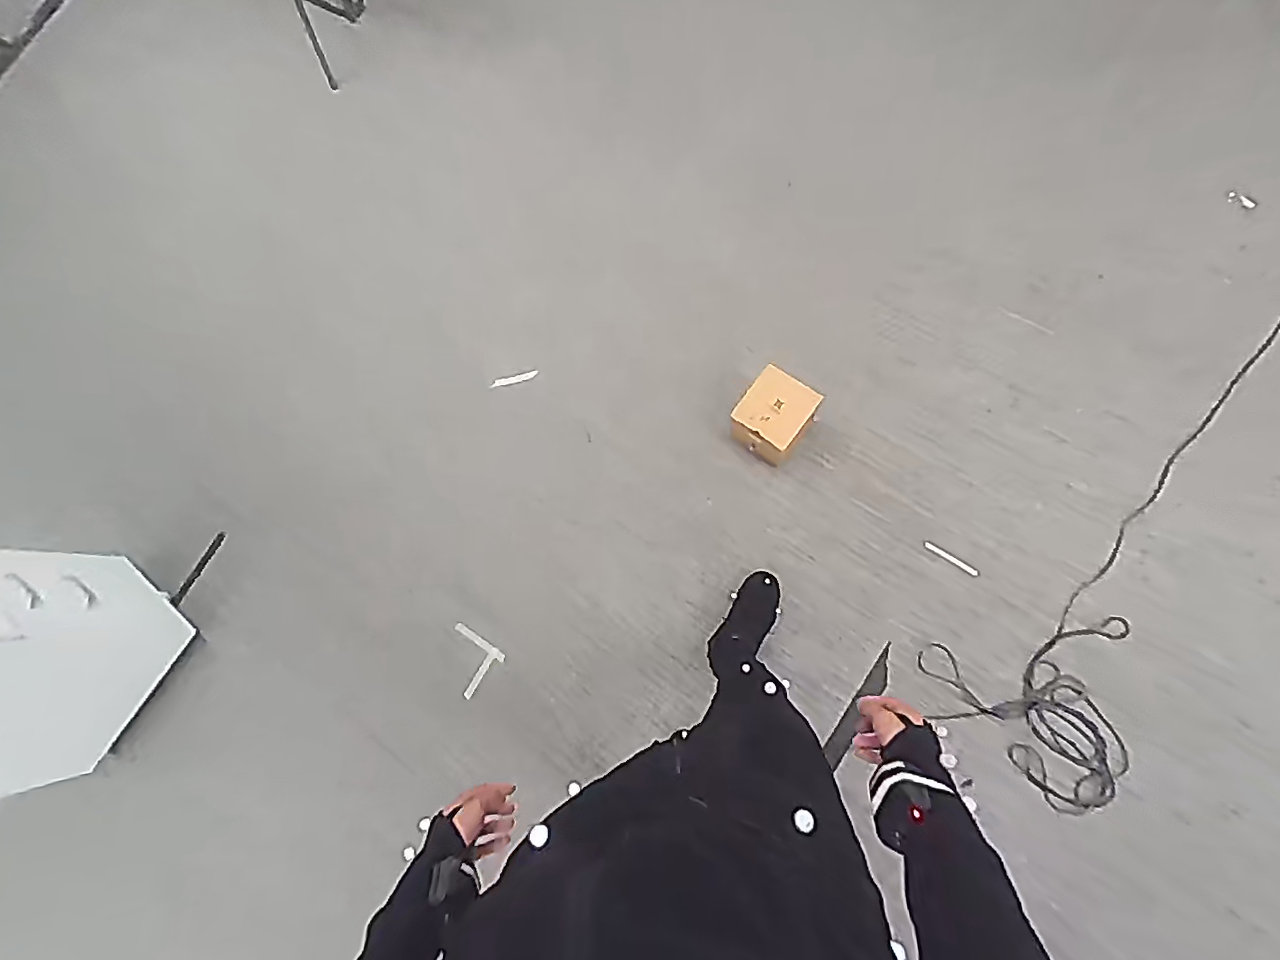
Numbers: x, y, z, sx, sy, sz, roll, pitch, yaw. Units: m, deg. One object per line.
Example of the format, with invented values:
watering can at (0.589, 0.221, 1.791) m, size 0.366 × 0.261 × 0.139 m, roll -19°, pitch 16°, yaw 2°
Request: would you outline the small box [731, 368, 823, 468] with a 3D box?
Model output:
small box at (0.356, -0.157, 1.436) m, size 0.168 × 0.176 × 0.179 m, roll 37°, pitch 86°, yaw 16°
